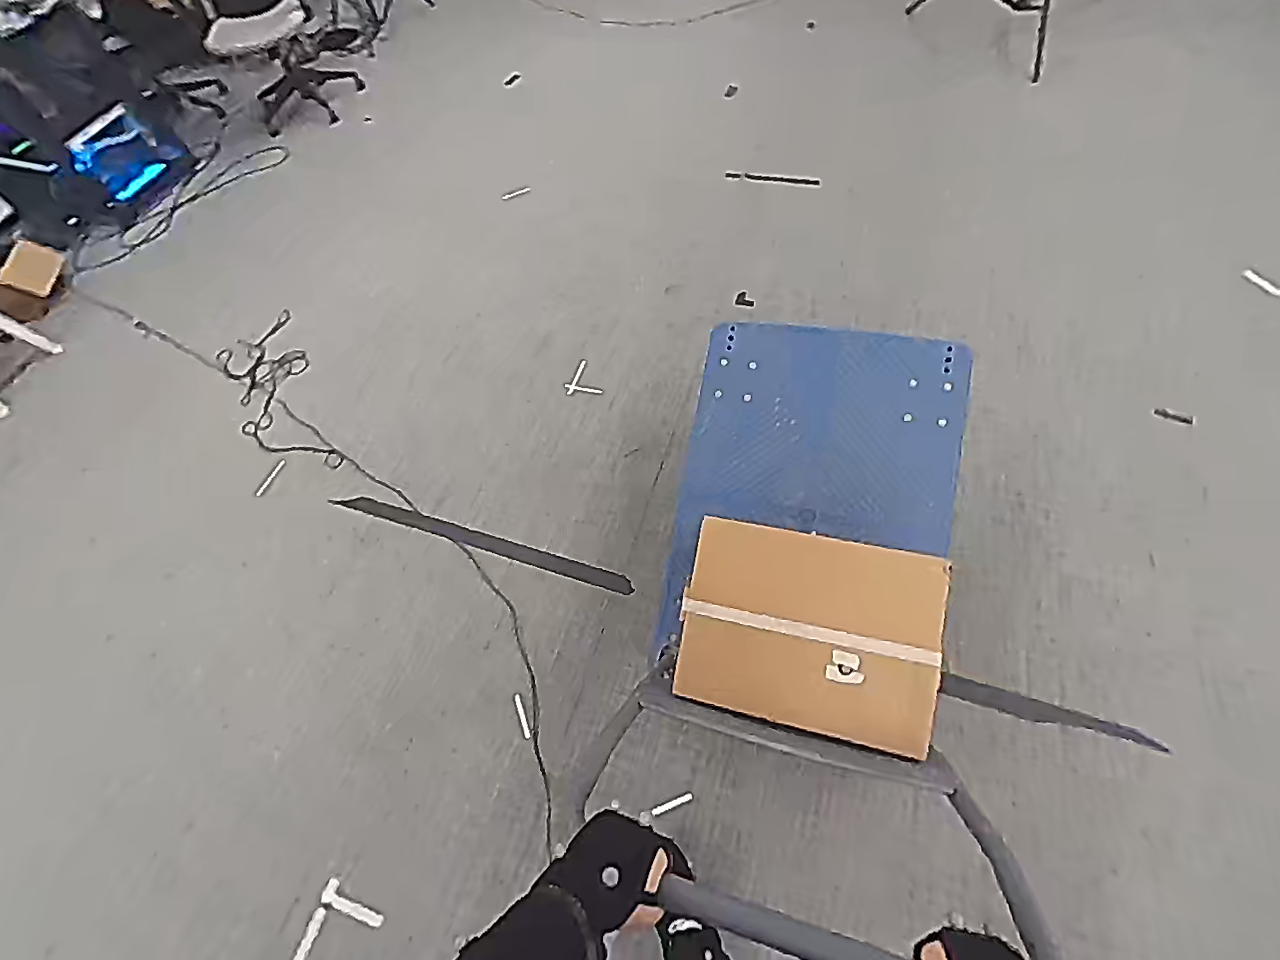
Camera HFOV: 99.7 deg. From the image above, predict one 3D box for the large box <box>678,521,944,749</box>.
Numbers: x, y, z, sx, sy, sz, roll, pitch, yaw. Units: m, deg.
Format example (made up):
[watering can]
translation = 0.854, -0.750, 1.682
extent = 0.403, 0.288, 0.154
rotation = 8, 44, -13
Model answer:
[large box]
translation = 0.310, 0.271, 1.053
extent = 0.408, 0.320, 0.320
rotation = 9, 84, 14
